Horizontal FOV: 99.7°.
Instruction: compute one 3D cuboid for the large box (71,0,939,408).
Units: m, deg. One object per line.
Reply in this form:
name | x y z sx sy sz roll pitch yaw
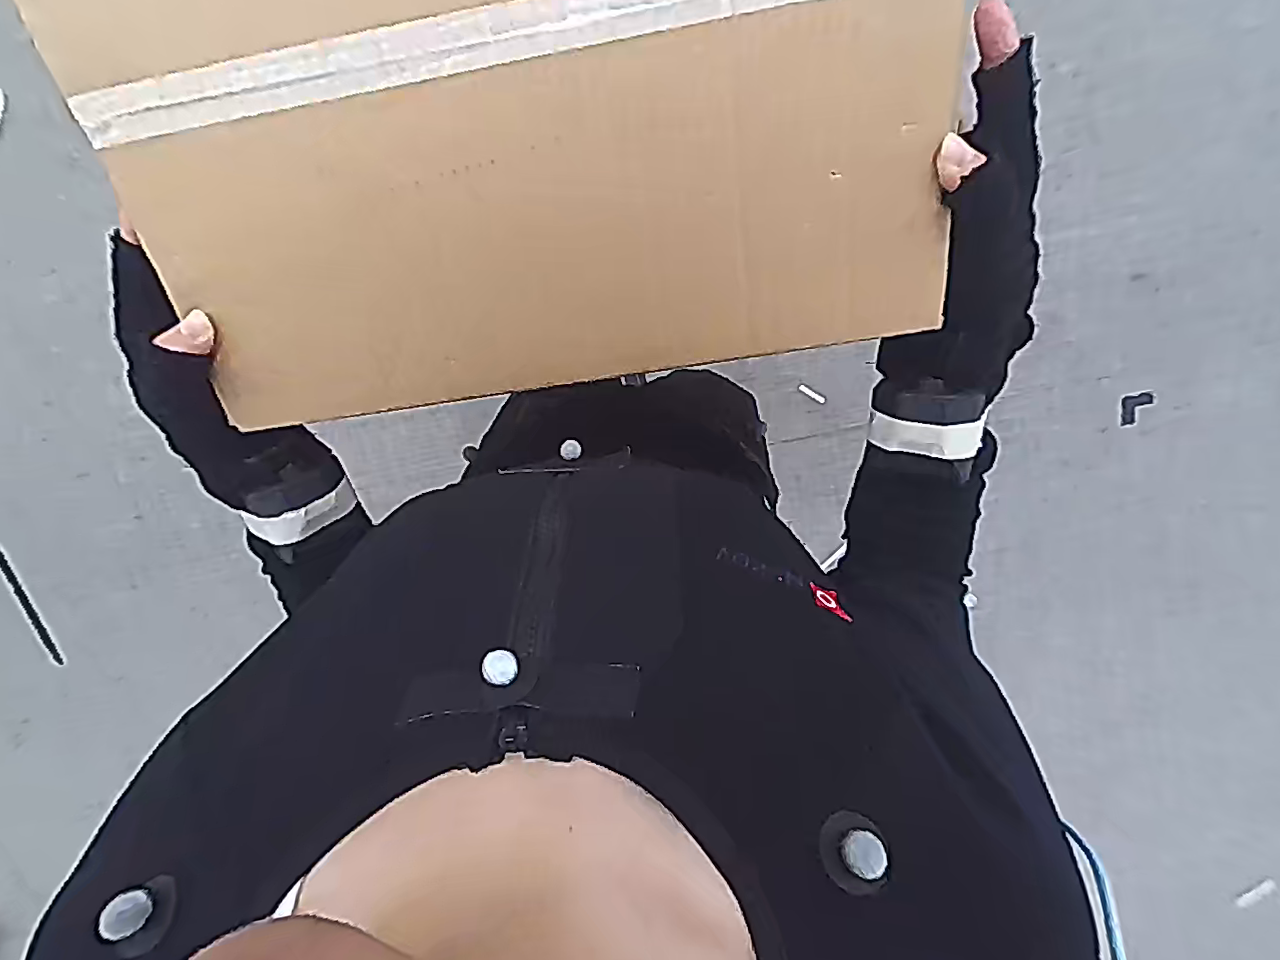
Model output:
large box | -0.061 -0.269 0.389 0.408 0.320 0.320 -8 115 5
